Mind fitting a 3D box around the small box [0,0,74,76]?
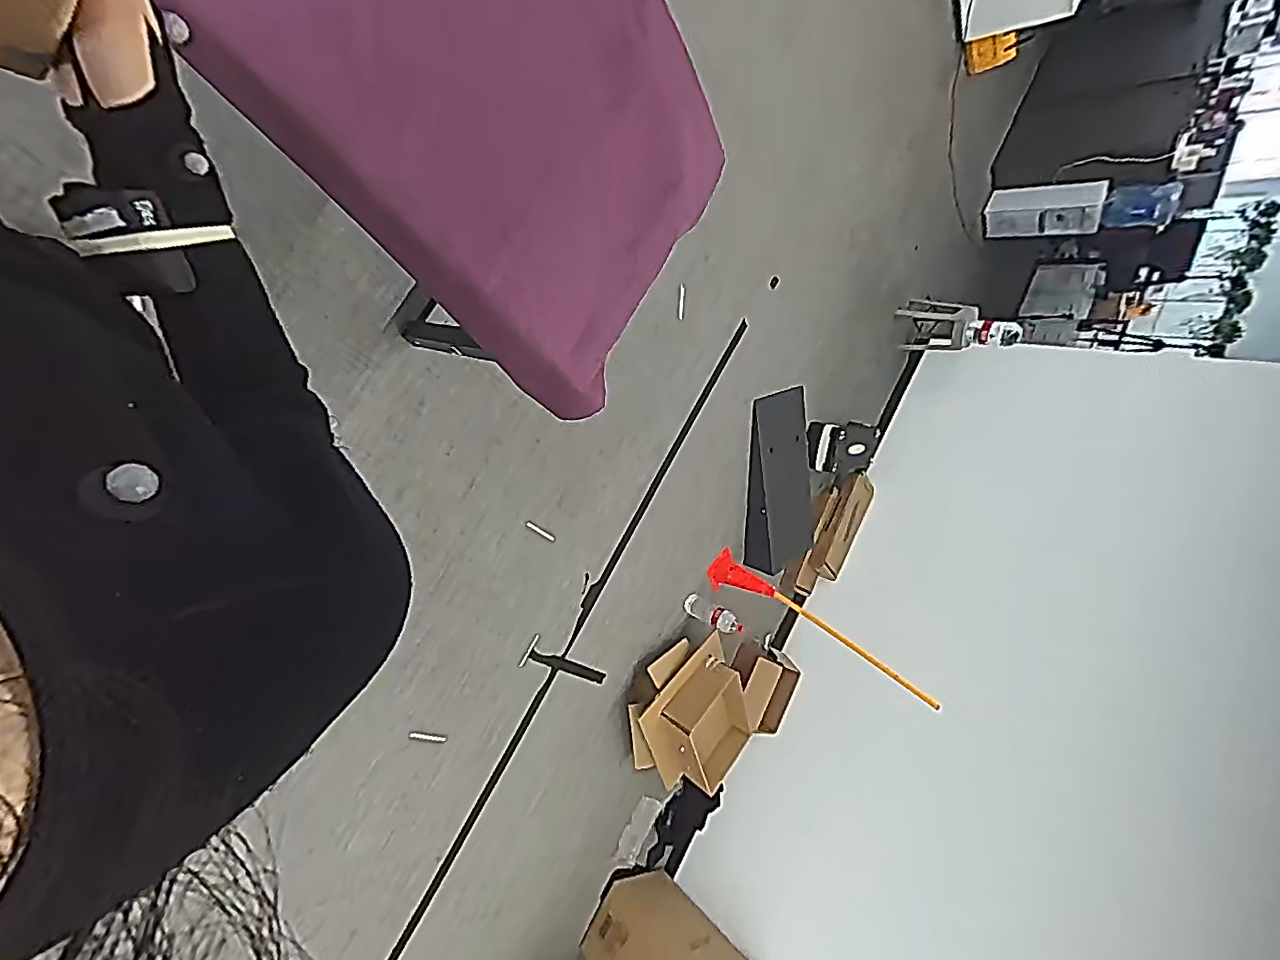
[{"bbox_3d":[-0.344,-0.311,0.212,0.168,0.176,0.179,-5,100,-53],"label":"small box"}]
